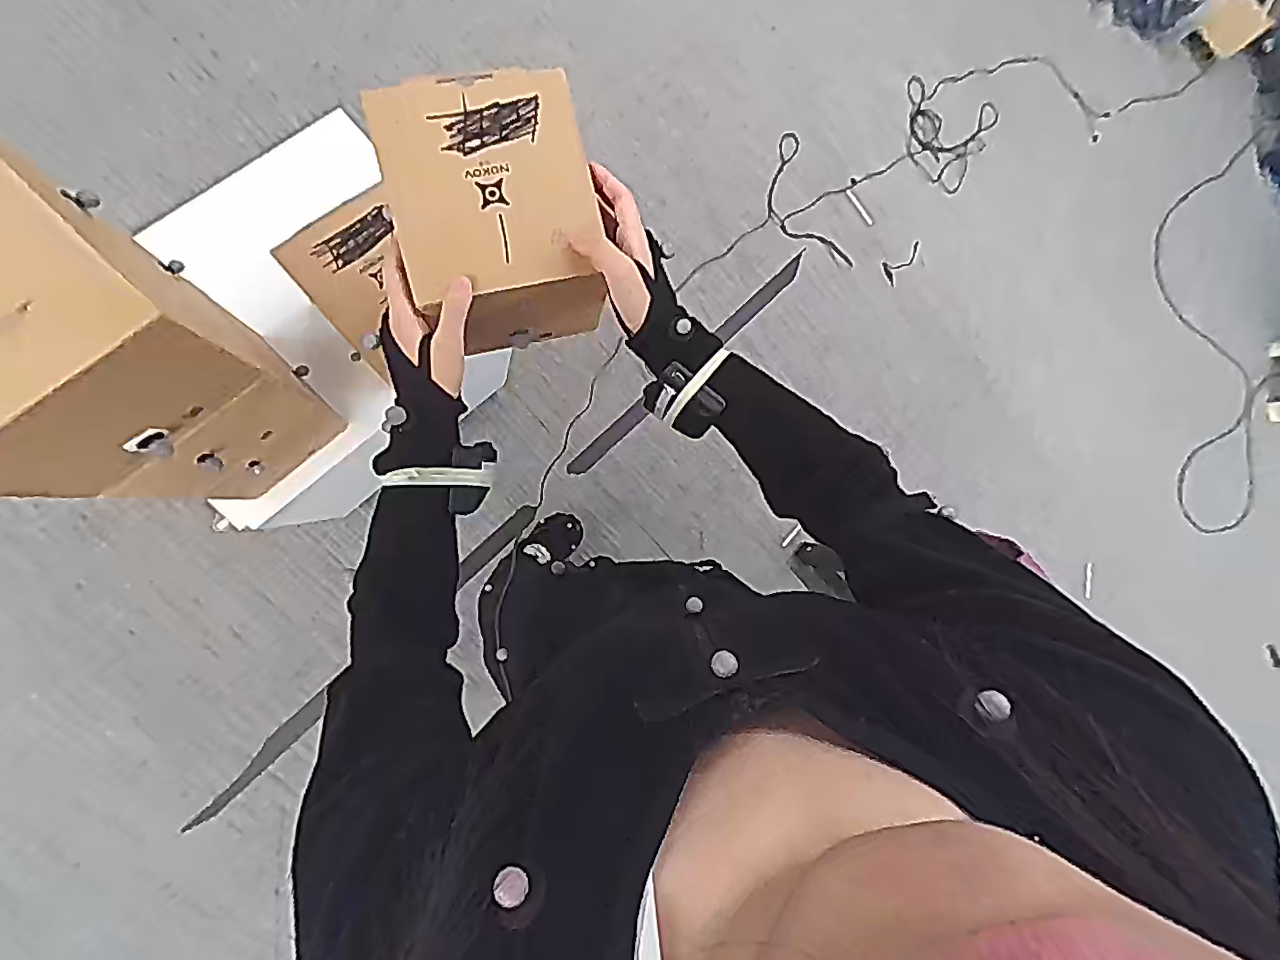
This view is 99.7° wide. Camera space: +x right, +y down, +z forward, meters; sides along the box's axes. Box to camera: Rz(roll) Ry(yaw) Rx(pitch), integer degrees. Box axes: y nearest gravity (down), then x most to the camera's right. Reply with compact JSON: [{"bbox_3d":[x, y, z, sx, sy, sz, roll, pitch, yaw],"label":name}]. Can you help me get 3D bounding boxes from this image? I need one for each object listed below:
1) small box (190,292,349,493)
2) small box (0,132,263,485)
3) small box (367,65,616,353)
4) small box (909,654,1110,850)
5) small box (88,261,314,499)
[{"bbox_3d":[-0.513,-0.095,0.686,0.168,0.176,0.179,-44,99,-12],"label":"small box"},{"bbox_3d":[-0.421,-0.107,0.375,0.168,0.176,0.179,-45,101,-12],"label":"small box"},{"bbox_3d":[-0.130,-0.238,0.512,0.168,0.176,0.179,-14,91,-9],"label":"small box"},{"bbox_3d":[0.556,0.405,0.840,0.179,0.176,0.168,-41,99,-14],"label":"small box"},{"bbox_3d":[-0.466,-0.099,0.531,0.168,0.176,0.179,-45,100,-13],"label":"small box"}]
